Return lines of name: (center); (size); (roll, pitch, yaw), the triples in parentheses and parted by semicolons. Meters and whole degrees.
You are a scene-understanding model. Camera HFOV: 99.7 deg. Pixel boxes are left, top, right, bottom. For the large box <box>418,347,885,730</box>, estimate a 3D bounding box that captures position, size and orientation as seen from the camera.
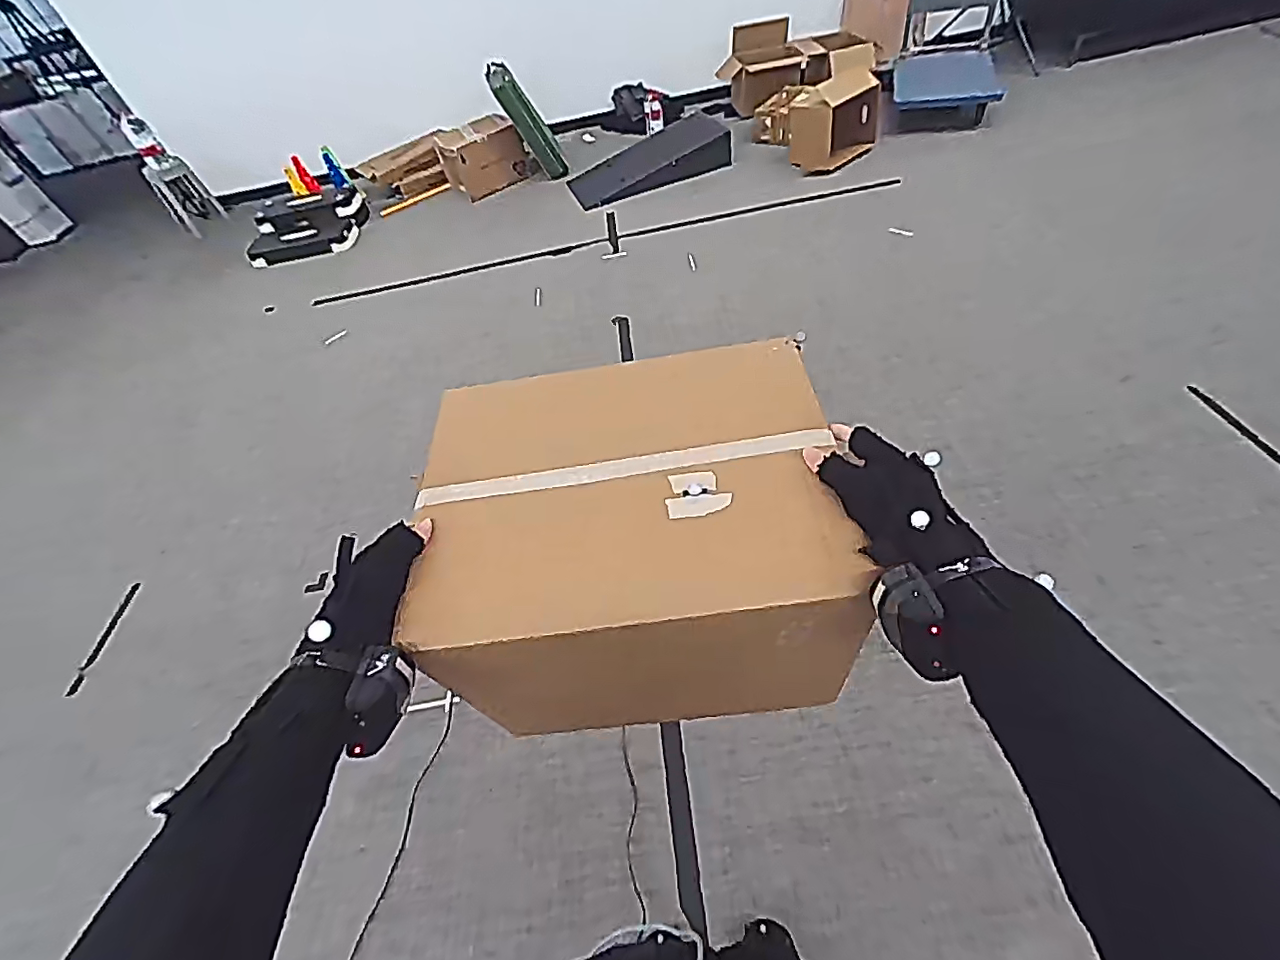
large box: (0.011, 0.084, 0.655); (0.408, 0.320, 0.320); (-8, 53, 3)
